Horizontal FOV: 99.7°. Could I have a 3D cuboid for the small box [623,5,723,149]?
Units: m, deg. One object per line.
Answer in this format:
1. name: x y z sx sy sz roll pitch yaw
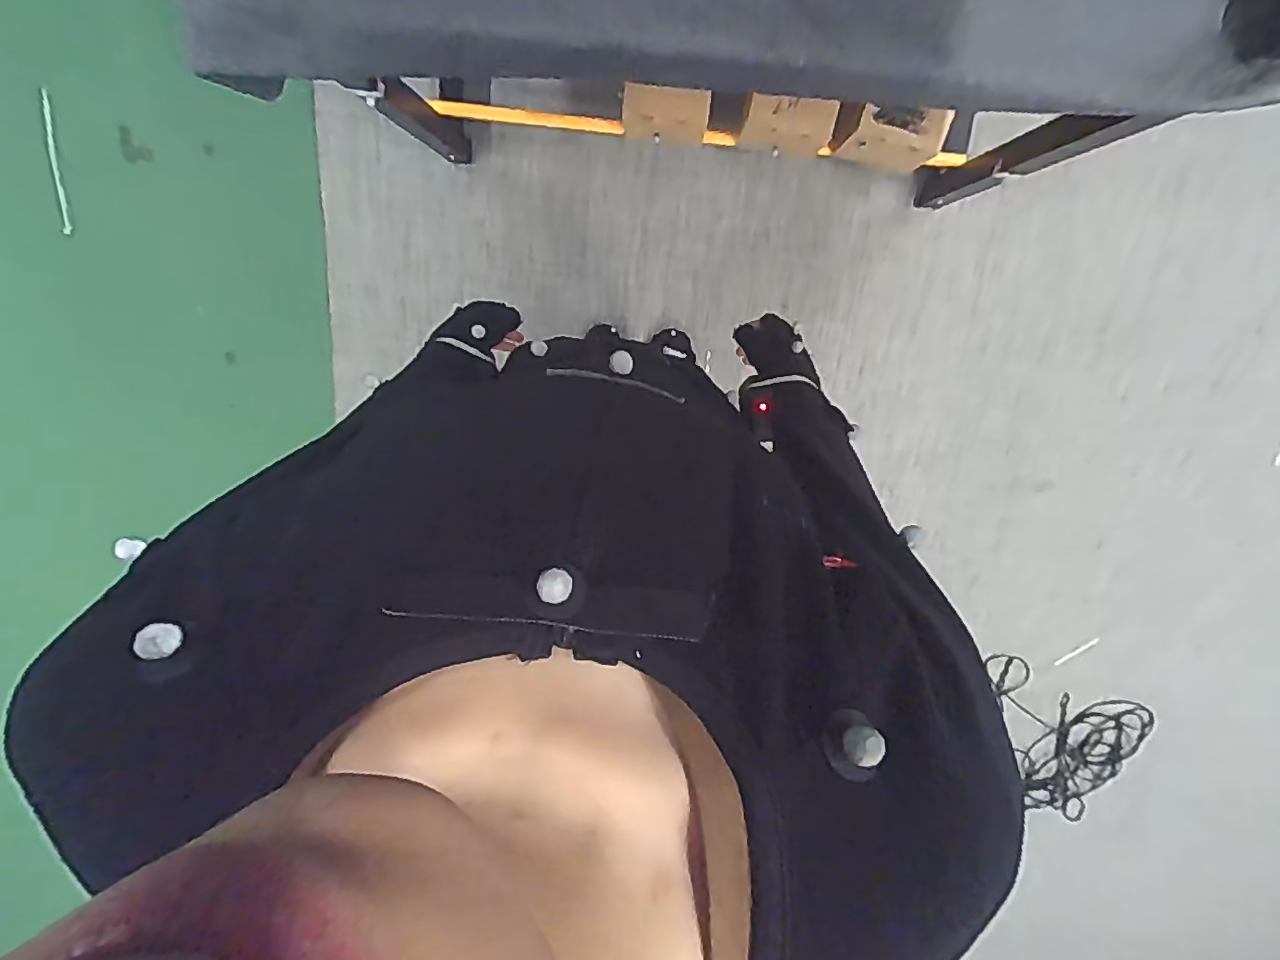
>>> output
1. small box: 0.059 -0.784 1.071 0.168 0.176 0.179 7 109 -1
